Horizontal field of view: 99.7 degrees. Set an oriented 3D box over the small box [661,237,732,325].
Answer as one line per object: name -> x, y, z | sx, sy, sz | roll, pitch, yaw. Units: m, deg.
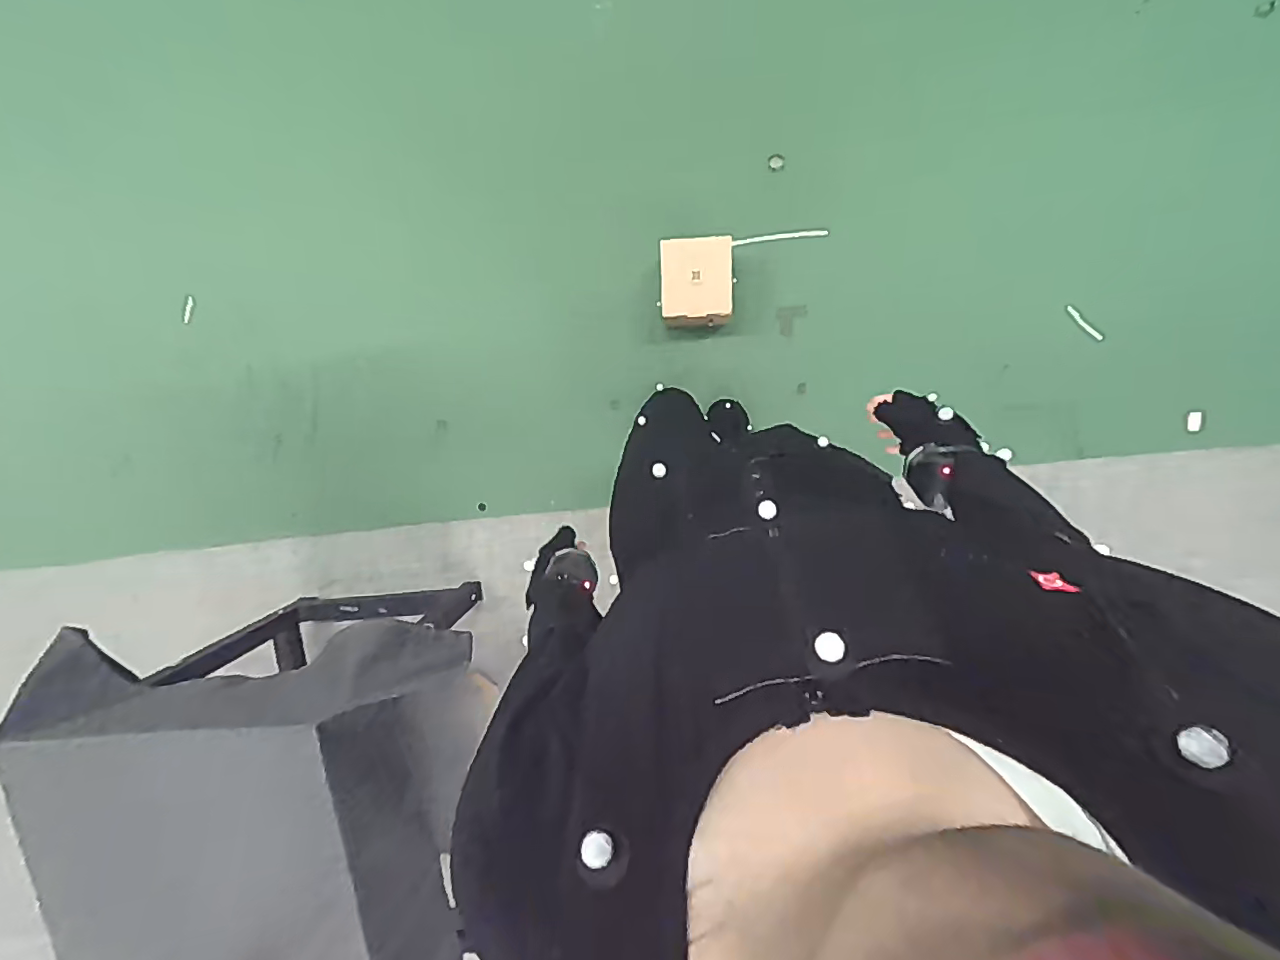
small box -> 0.140, -0.481, 1.334 | 0.168, 0.176, 0.179 | -1, 98, 5
